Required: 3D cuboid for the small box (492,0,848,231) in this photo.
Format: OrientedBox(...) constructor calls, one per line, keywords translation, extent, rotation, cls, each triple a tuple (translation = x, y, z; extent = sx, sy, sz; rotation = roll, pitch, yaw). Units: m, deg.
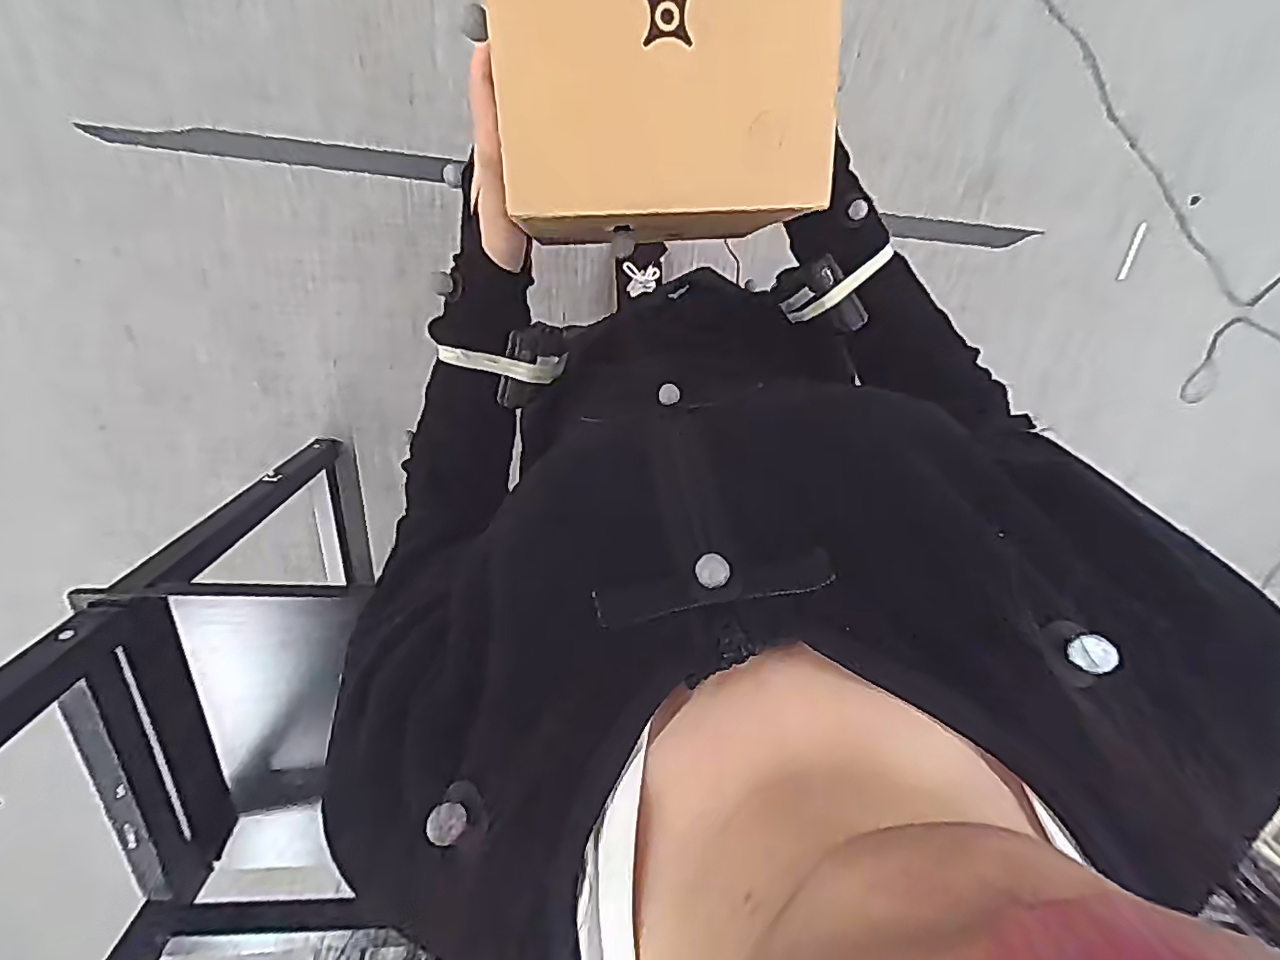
OrientedBox(translation=(0.009, -0.249, 0.320), extent=(0.168, 0.176, 0.179), rotation=(-4, 109, -3), cls="small box")
